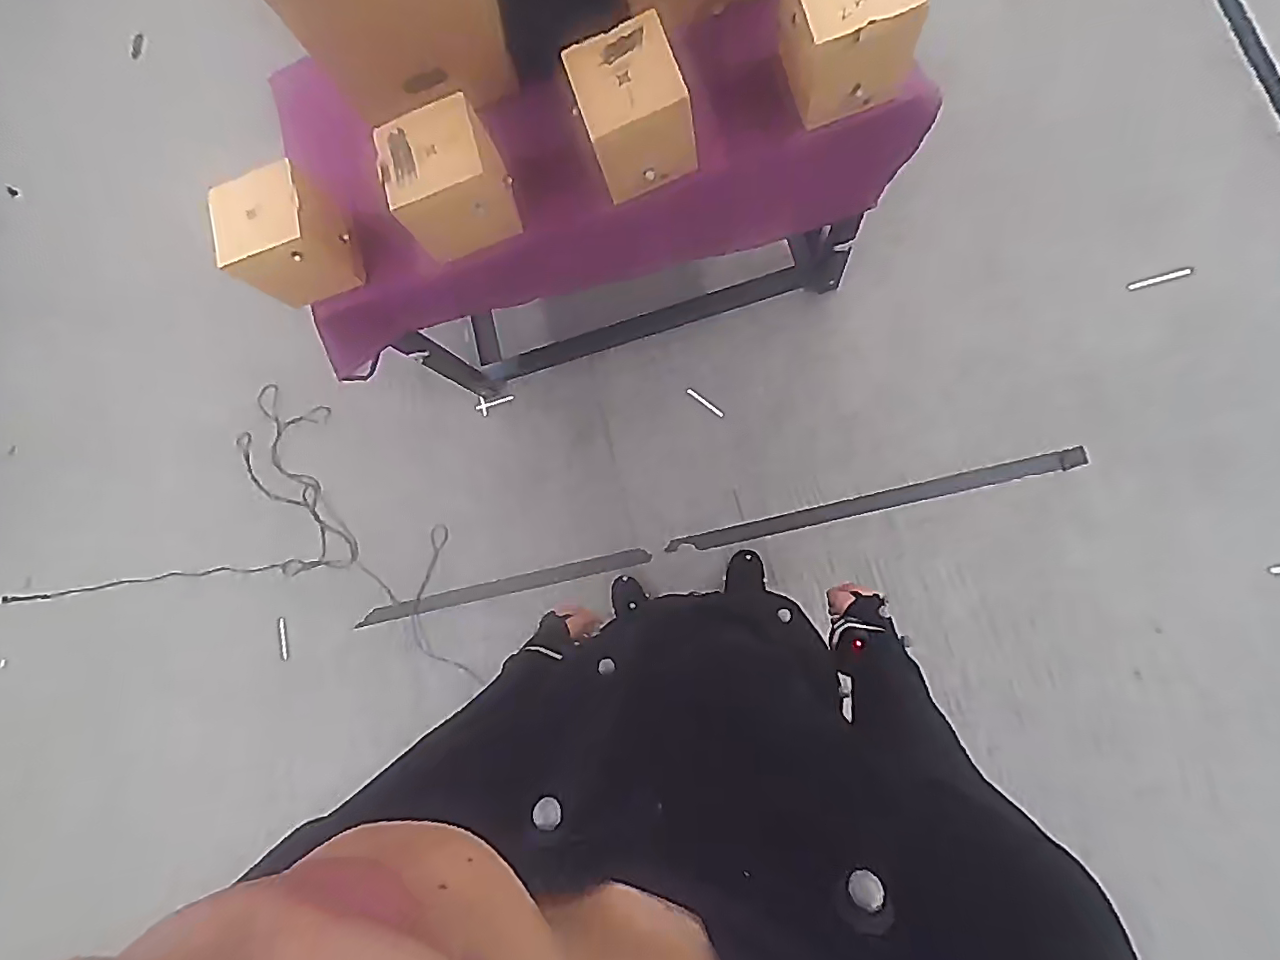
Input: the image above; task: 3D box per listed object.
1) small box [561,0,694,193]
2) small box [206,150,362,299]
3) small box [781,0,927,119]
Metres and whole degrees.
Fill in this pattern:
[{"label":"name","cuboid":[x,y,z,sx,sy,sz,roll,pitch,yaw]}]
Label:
[{"label":"small box","cuboid":[-0.014,-0.637,0.920,0.168,0.176,0.179,-19,81,9]},{"label":"small box","cuboid":[-0.669,-0.472,1.029,0.179,0.176,0.168,-16,80,8]},{"label":"small box","cuboid":[0.328,-0.734,0.863,0.168,0.176,0.179,-15,80,10]}]
